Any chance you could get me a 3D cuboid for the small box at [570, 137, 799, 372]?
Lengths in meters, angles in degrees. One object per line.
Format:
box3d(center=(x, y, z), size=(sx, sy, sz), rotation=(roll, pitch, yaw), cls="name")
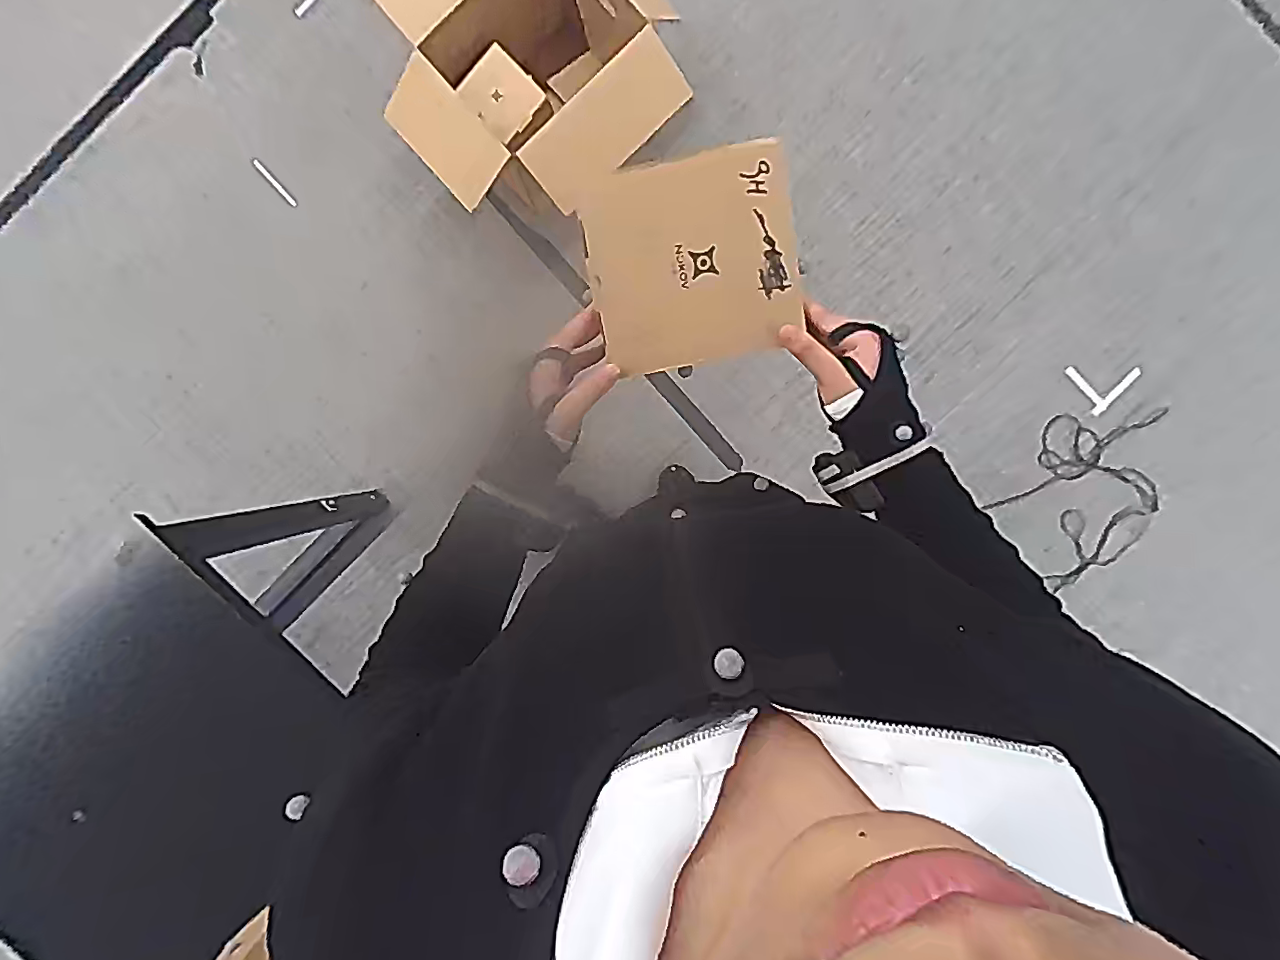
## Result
box3d(center=(0.043, -0.204, 0.537), size=(0.179, 0.176, 0.168), rotation=(-10, 104, 3), cls="small box")
